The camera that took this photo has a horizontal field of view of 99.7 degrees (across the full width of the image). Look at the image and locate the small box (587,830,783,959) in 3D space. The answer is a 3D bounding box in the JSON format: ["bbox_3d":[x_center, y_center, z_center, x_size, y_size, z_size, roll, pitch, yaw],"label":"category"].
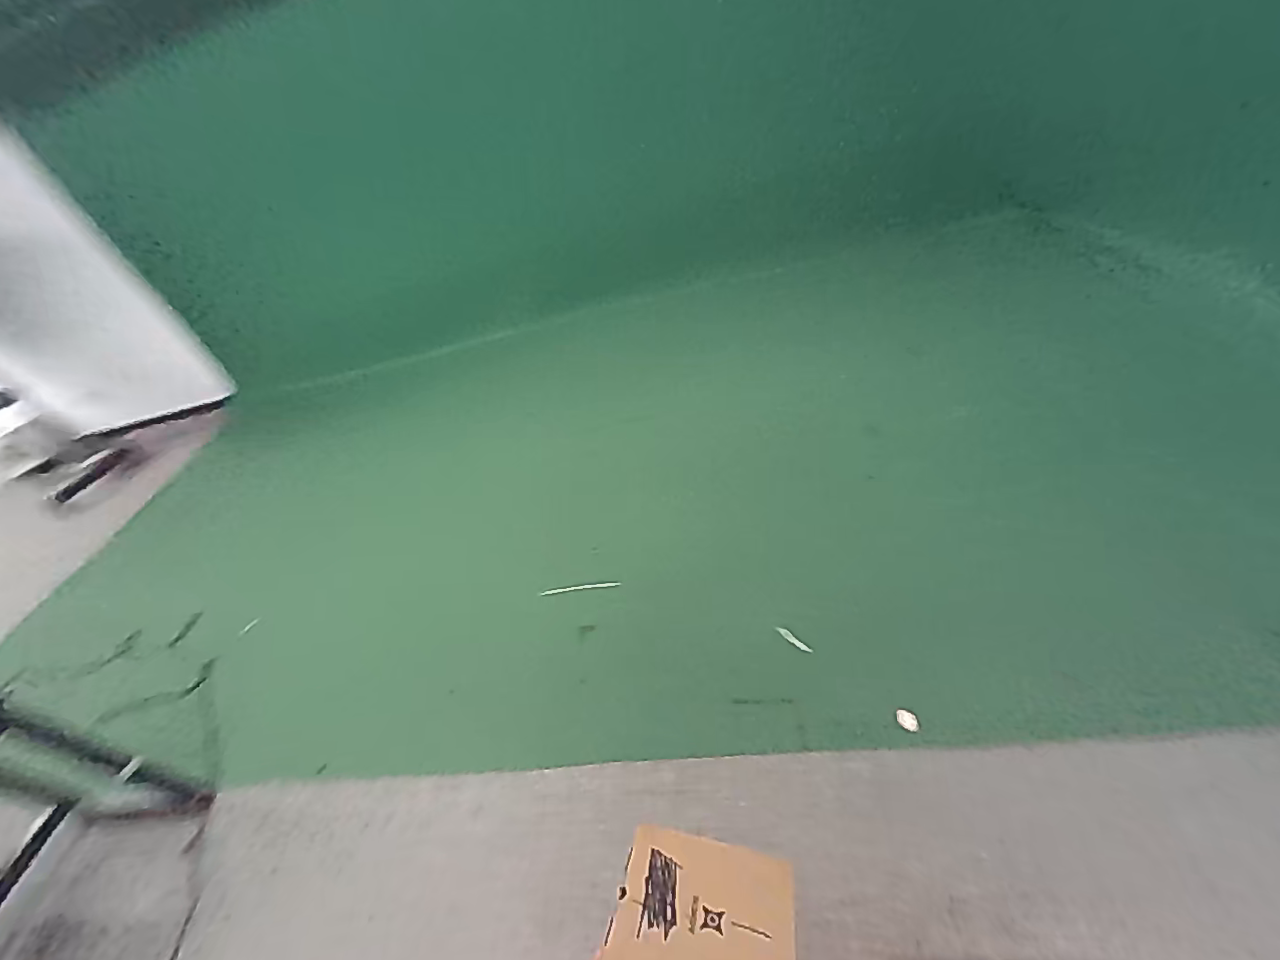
[{"bbox_3d":[0.046,0.505,0.545,0.179,0.176,0.168,6,18,12],"label":"small box"}]
